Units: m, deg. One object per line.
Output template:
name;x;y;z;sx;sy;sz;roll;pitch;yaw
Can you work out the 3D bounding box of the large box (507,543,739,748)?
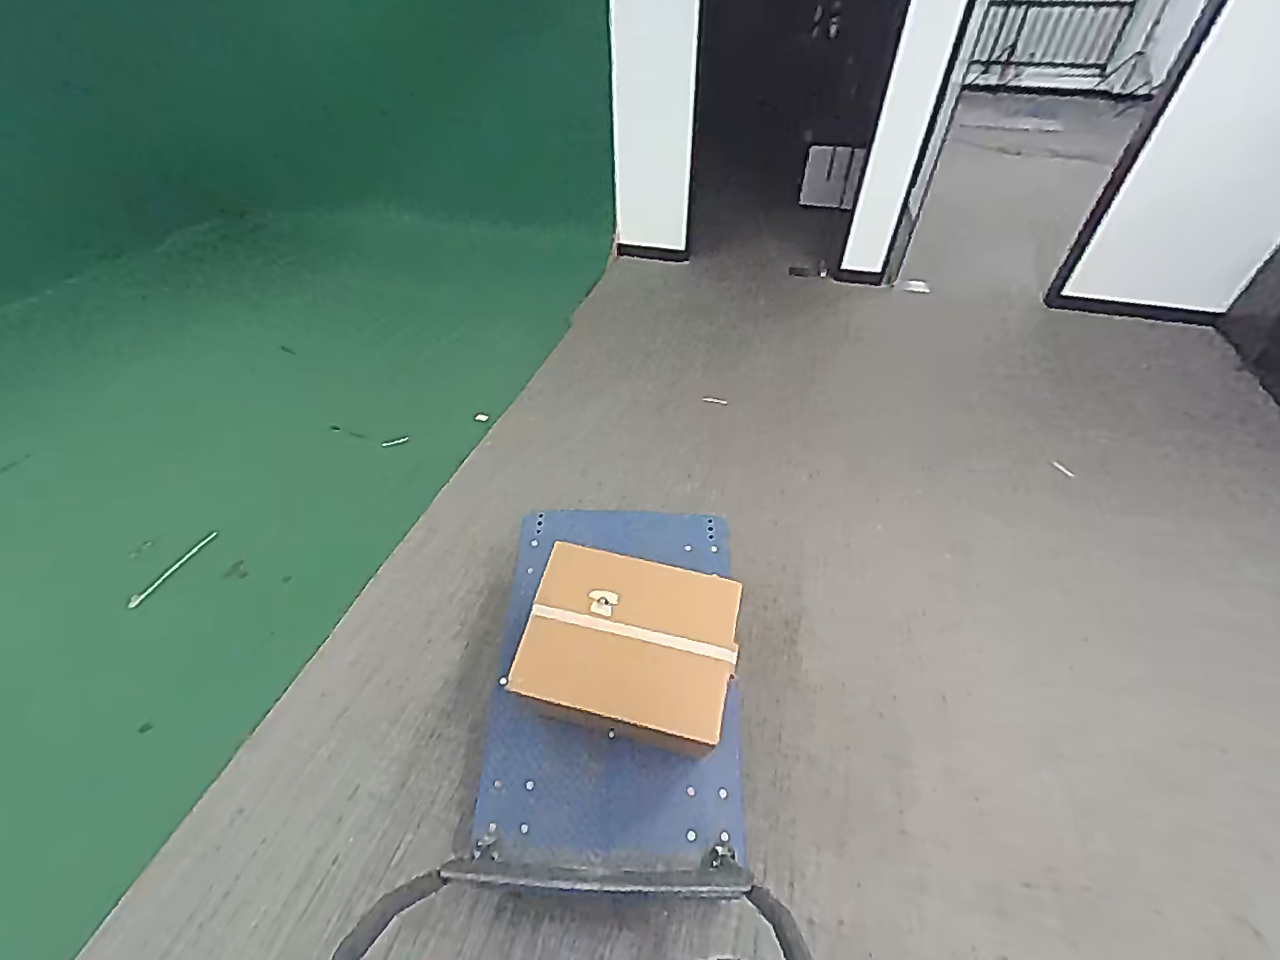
large box;-0.018;0.372;1.188;0.408;0.320;0.320;12;60;8
